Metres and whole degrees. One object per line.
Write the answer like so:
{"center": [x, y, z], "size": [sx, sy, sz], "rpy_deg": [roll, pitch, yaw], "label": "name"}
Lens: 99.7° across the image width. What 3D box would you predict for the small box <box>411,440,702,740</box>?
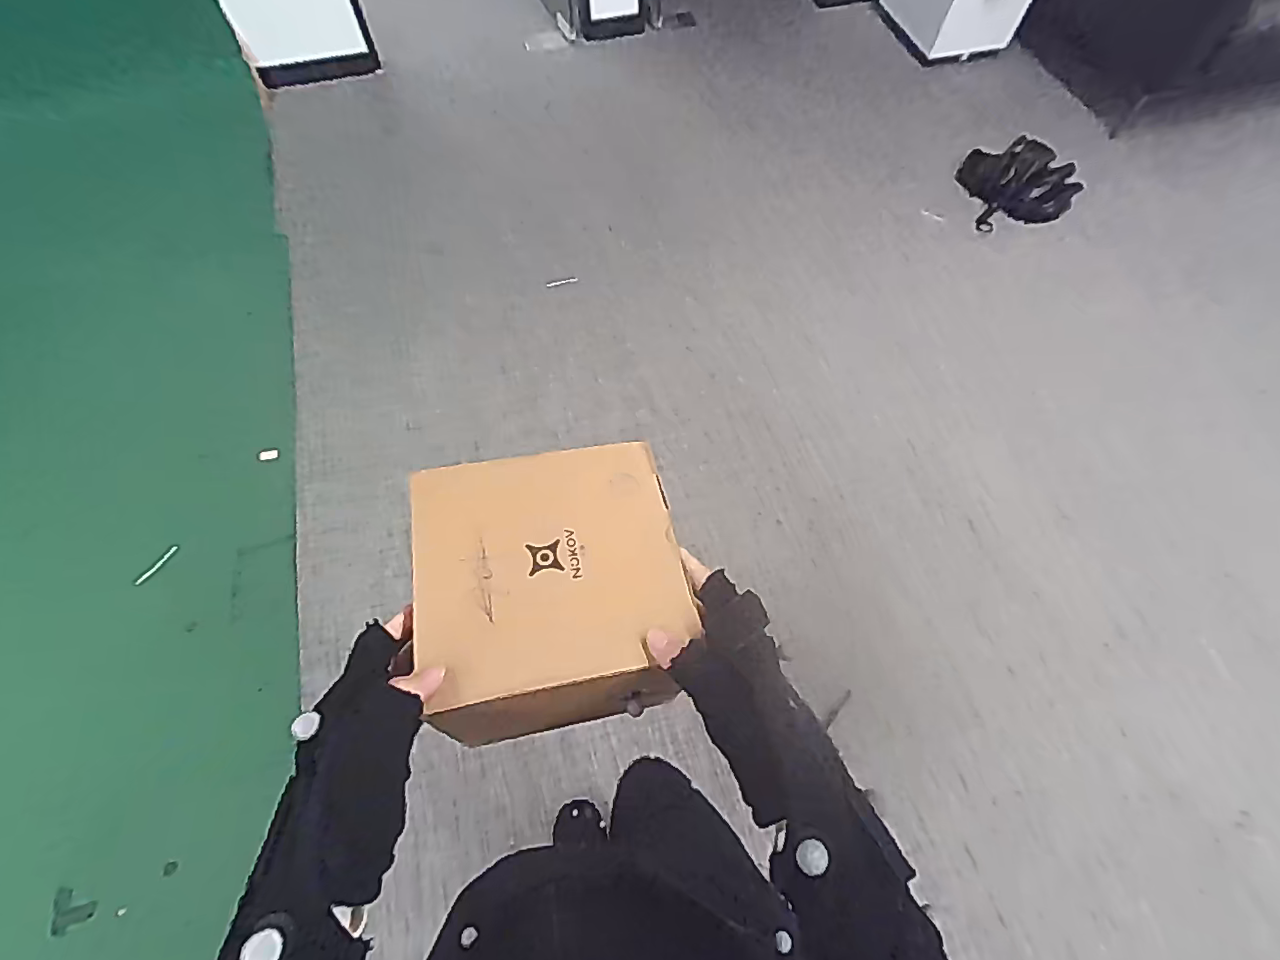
{"center": [-0.069, 0.092, 0.430], "size": [0.179, 0.176, 0.168], "rpy_deg": [-10, 58, -11], "label": "small box"}
